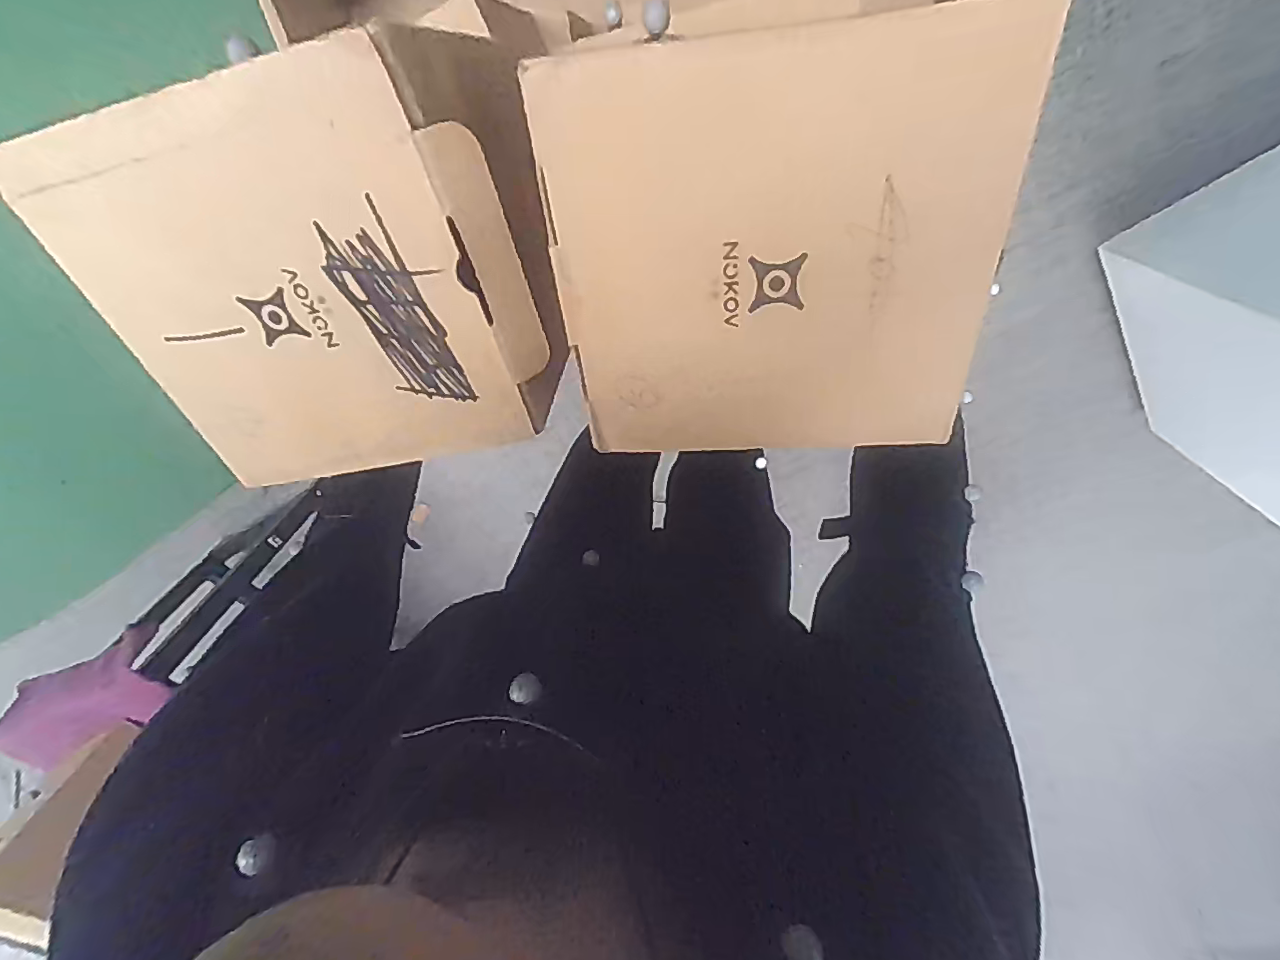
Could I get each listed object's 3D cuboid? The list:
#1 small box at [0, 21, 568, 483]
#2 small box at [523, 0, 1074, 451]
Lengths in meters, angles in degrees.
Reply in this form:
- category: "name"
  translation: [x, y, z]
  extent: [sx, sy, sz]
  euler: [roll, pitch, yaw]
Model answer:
- category: "small box"
  translation: [-0.147, -0.123, 0.298]
  extent: [0.179, 0.176, 0.168]
  euler: [-9, 125, 10]
- category: "small box"
  translation: [0.061, -0.130, 0.281]
  extent: [0.179, 0.176, 0.168]
  euler: [-3, 126, 8]
